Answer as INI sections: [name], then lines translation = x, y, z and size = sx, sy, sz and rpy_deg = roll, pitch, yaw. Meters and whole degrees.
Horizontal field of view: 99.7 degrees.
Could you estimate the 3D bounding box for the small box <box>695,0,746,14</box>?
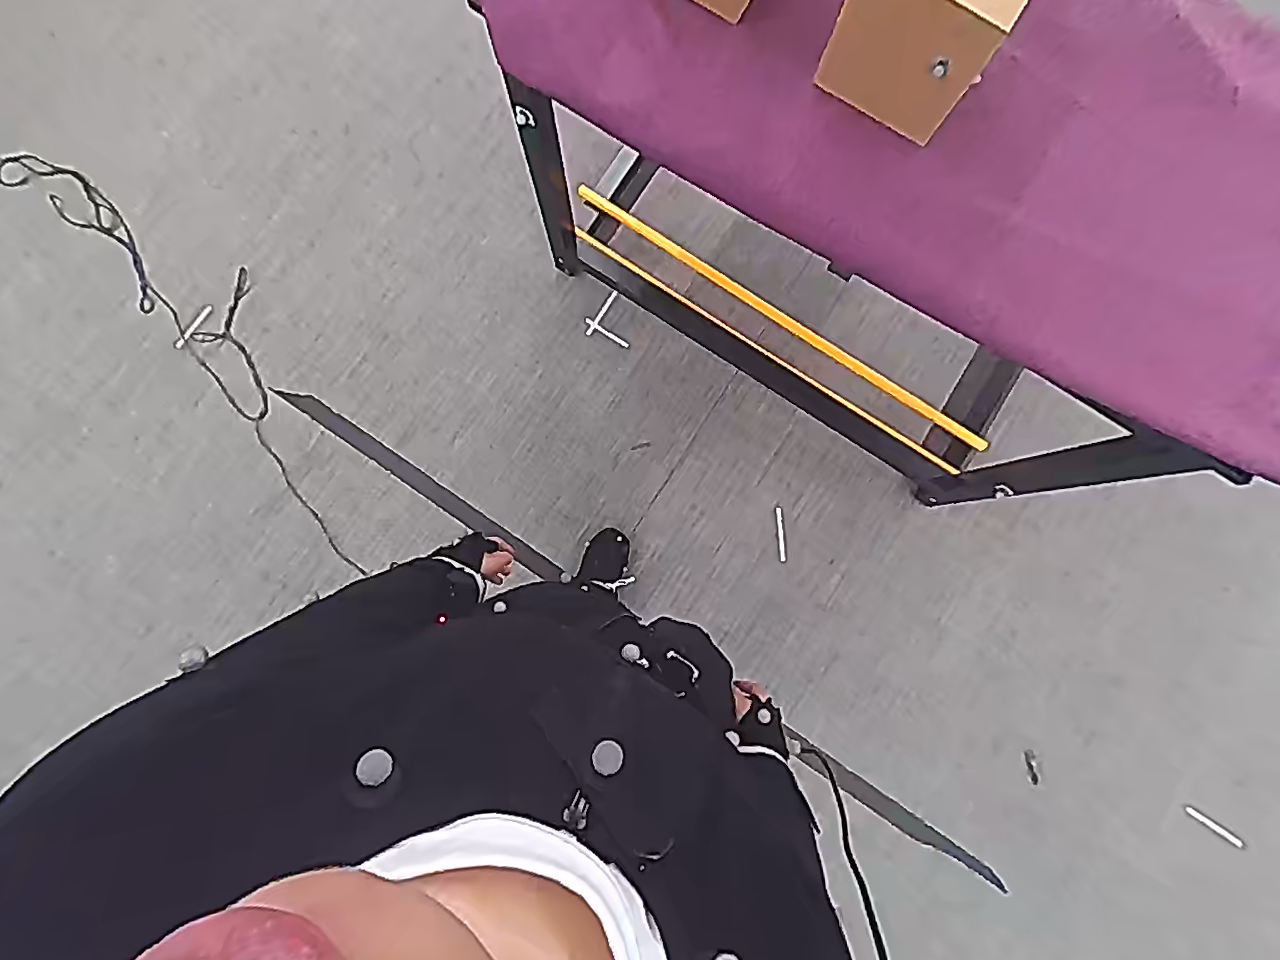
[small box]
translation = 0.103, -0.744, 0.672
size = 0.179, 0.176, 0.168
rpy_deg = 31, 83, 0
